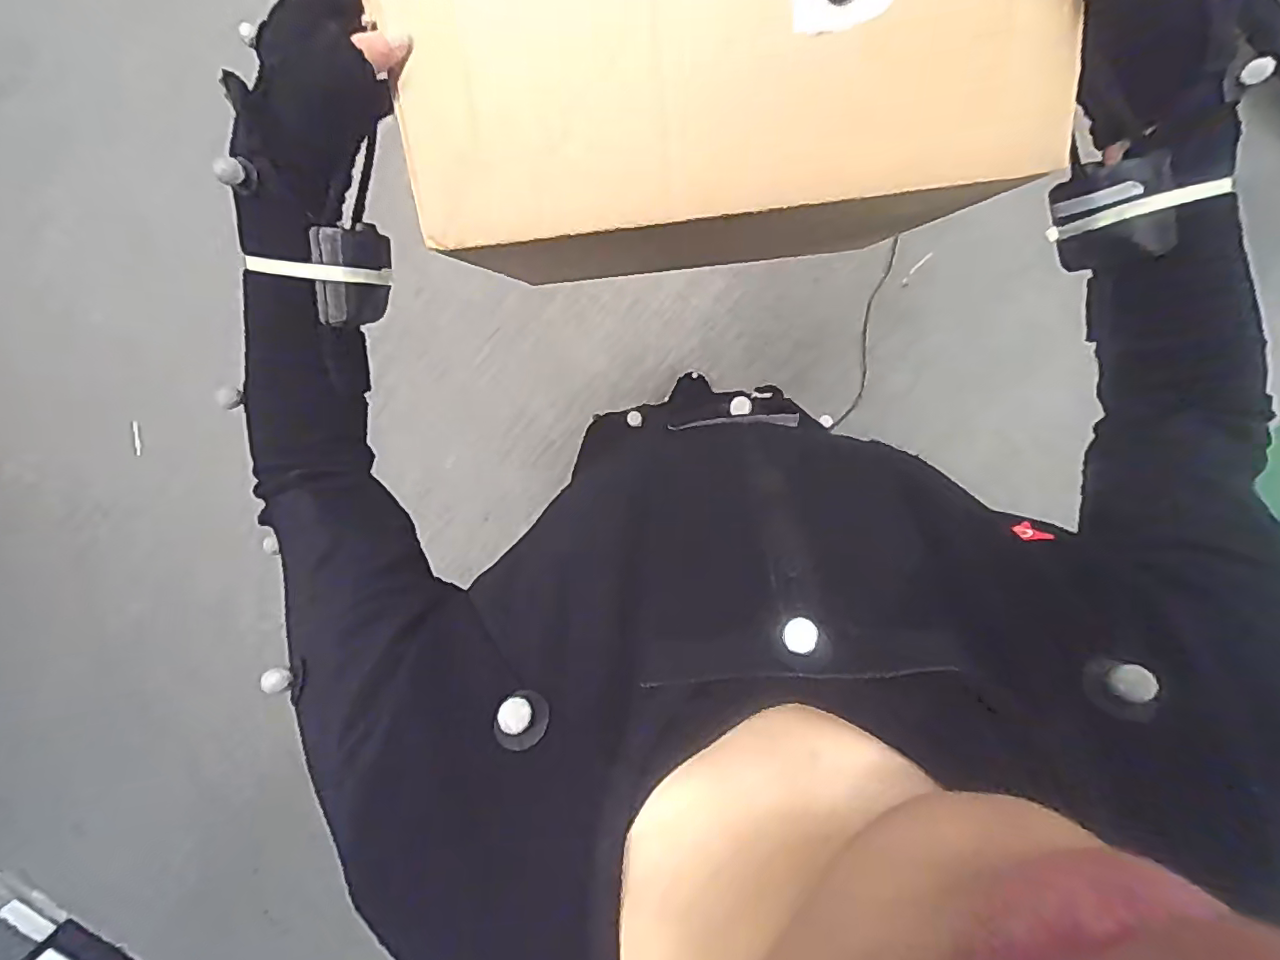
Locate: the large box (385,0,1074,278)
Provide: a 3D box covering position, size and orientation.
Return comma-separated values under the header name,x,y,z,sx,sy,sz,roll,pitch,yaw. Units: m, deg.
name,x,y,z,sx,sy,sz,roll,pitch,yaw
large box,0.044,-0.366,0.444,0.408,0.320,0.320,-6,106,2
